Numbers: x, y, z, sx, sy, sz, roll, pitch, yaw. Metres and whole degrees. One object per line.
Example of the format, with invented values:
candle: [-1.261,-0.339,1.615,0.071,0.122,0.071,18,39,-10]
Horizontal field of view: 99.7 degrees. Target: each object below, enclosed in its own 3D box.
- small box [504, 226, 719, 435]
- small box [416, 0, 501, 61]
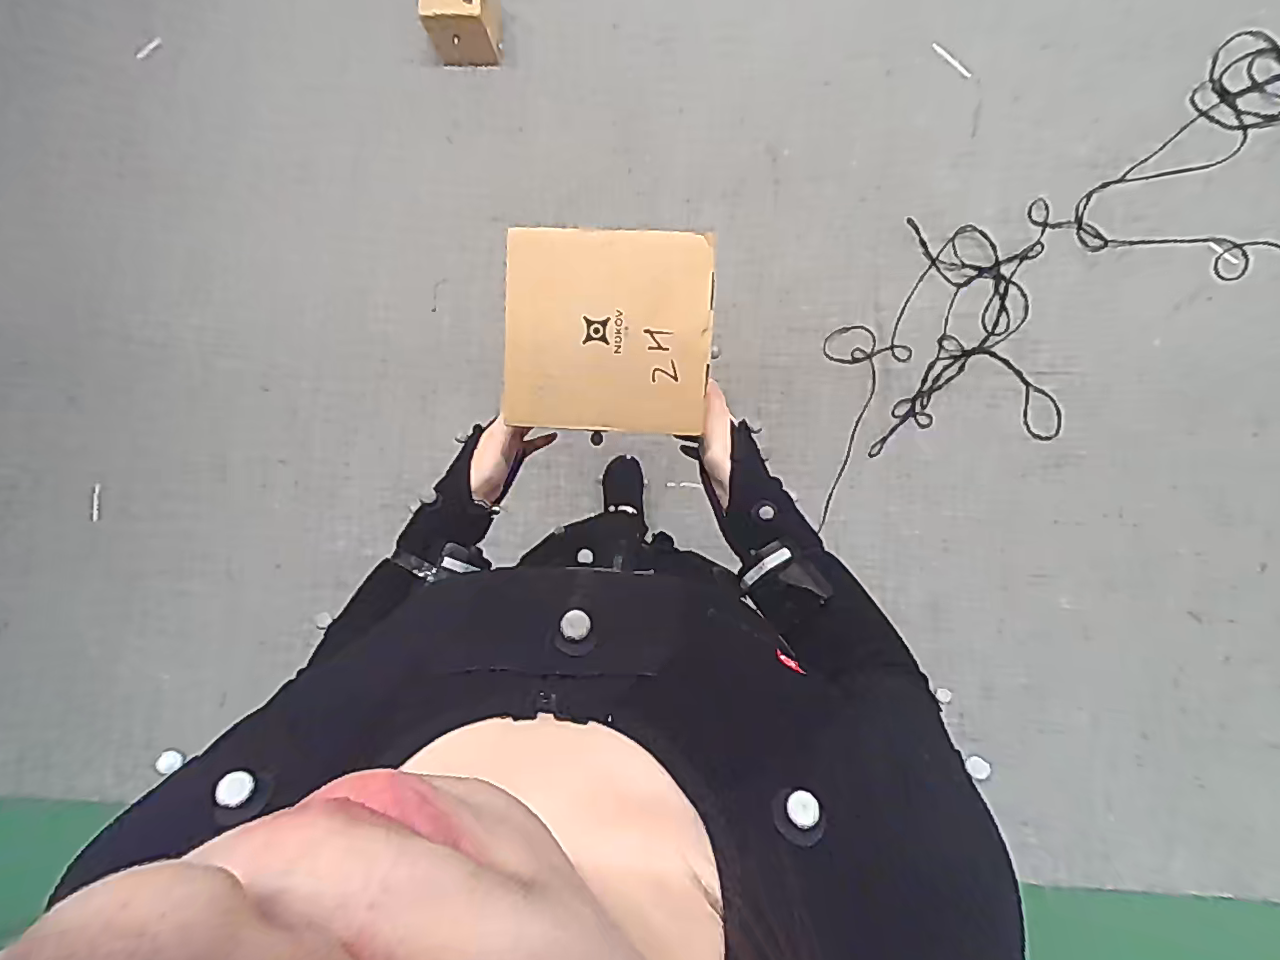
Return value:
small box: [-0.021,-0.136,0.531,0.179,0.176,0.168,4,99,3]
small box: [-0.499,-1.315,1.511,0.179,0.176,0.168,3,88,5]
